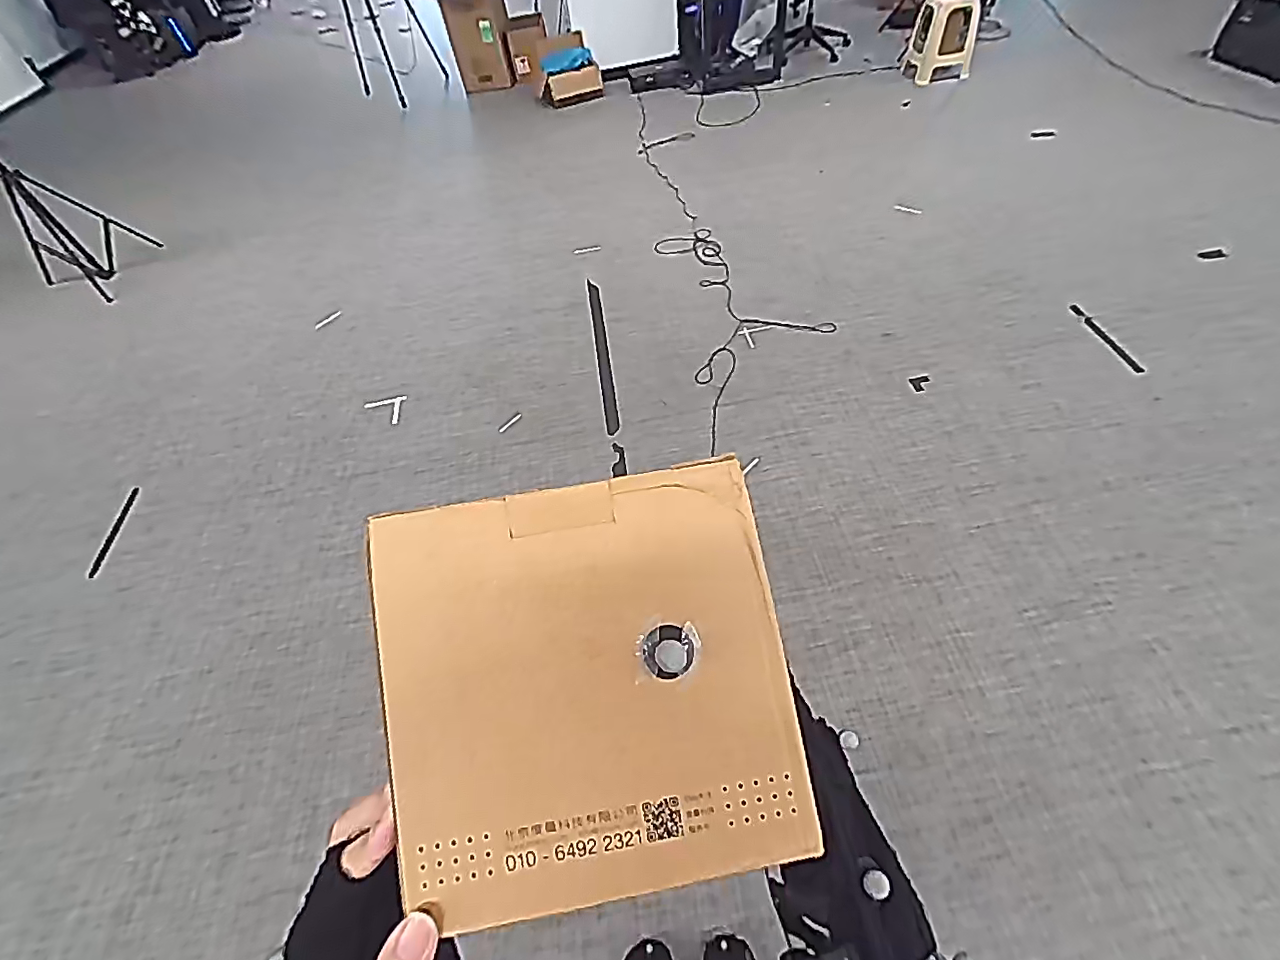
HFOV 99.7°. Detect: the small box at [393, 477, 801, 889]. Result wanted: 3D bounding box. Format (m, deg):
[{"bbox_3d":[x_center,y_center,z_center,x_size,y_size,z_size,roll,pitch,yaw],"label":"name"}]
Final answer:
[{"bbox_3d":[-0.020,0.106,0.320,0.168,0.179,0.176,-9,81,-2],"label":"small box"}]
